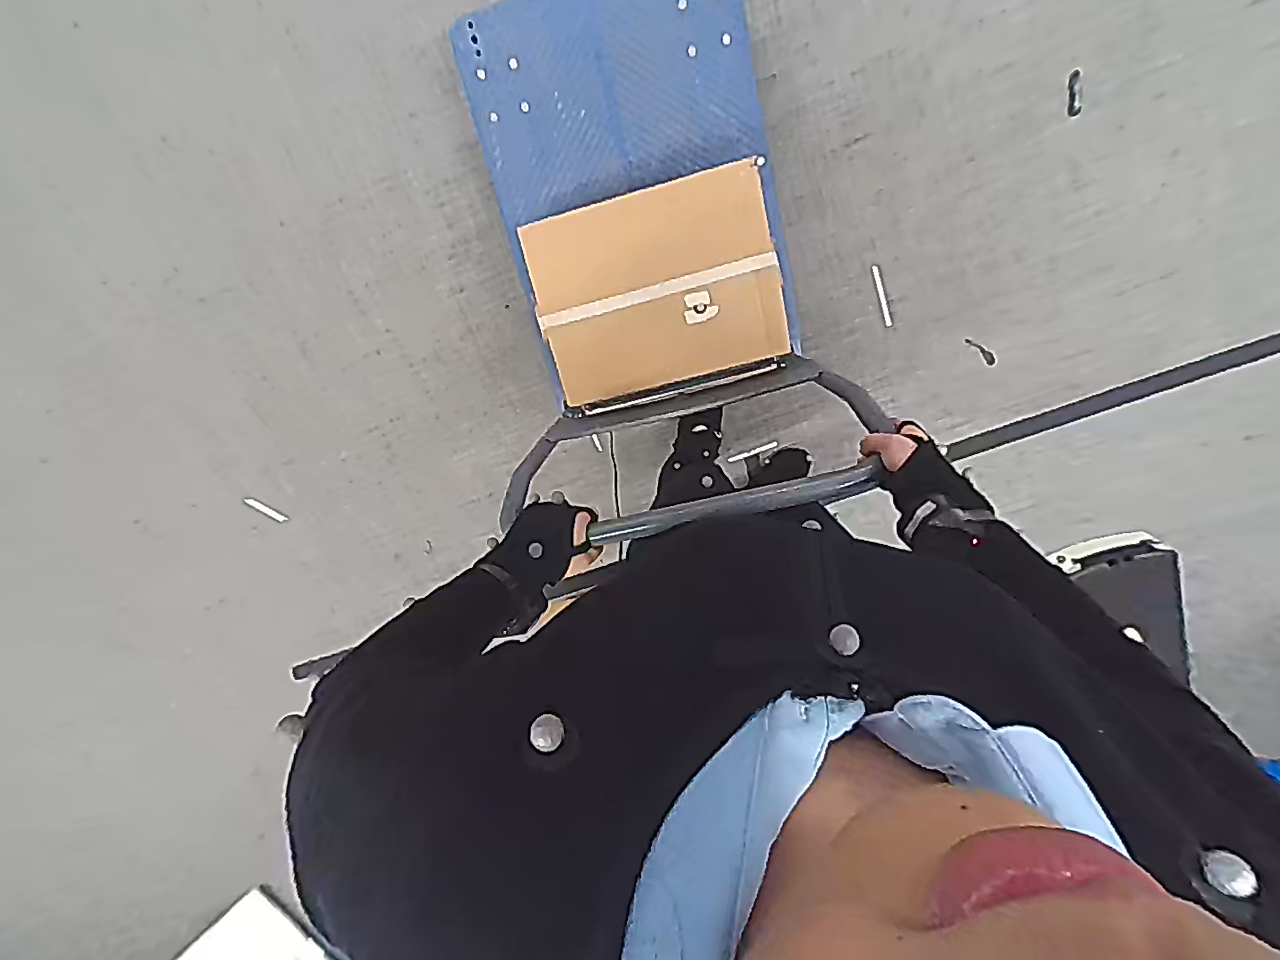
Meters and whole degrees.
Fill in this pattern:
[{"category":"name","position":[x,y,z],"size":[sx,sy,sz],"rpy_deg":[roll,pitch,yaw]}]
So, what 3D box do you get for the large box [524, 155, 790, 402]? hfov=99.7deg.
[{"category":"large box","position":[0.038,-0.367,1.063],"size":[0.408,0.320,0.320],"rpy_deg":[-13,105,7]}]
